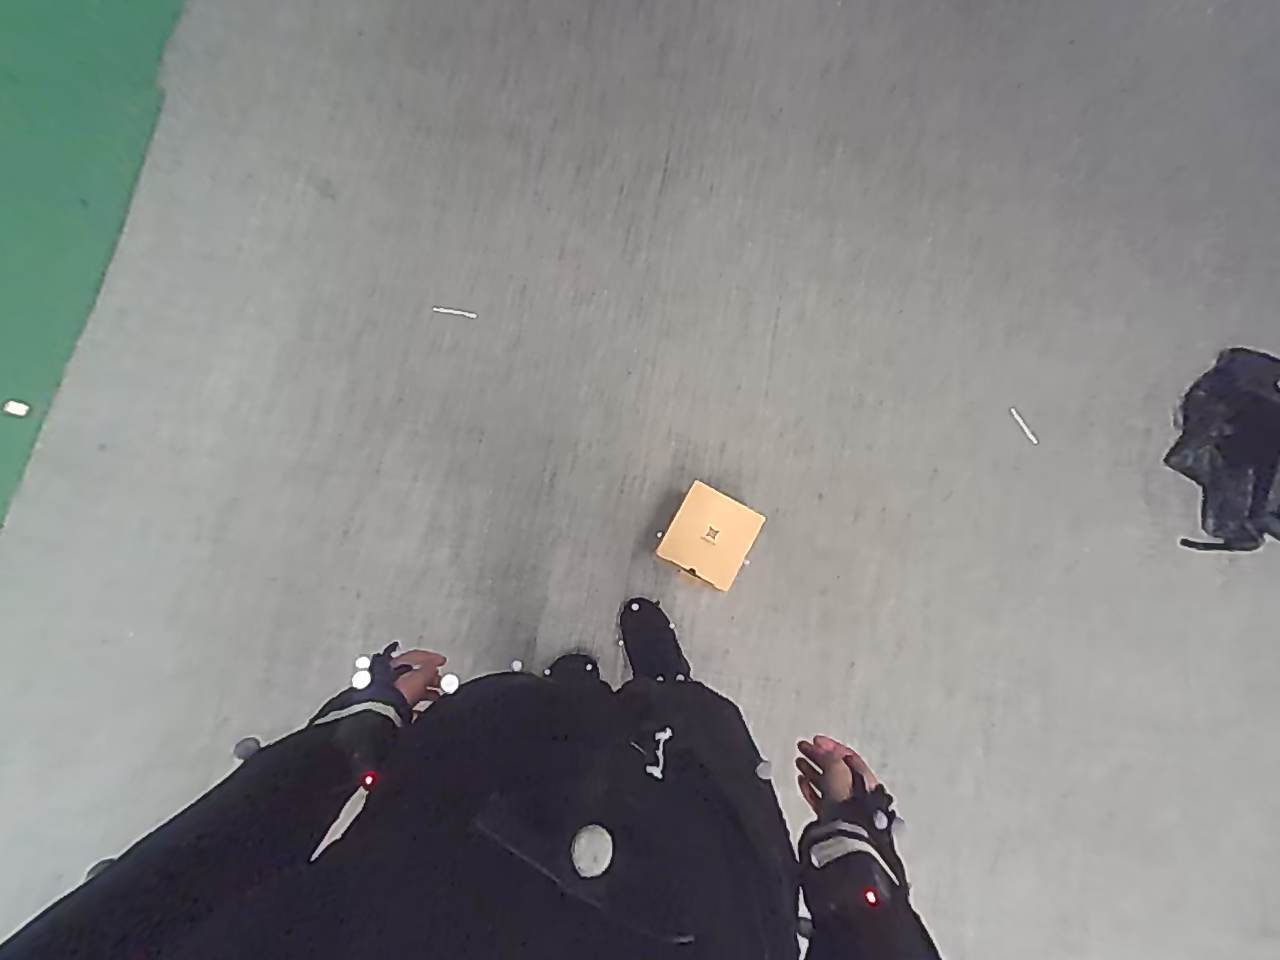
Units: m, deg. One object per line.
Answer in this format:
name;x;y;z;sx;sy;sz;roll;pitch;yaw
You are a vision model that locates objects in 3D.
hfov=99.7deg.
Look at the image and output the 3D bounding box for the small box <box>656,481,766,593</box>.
small box;0.143;0.126;1.165;0.168;0.176;0.179;28;81;4
